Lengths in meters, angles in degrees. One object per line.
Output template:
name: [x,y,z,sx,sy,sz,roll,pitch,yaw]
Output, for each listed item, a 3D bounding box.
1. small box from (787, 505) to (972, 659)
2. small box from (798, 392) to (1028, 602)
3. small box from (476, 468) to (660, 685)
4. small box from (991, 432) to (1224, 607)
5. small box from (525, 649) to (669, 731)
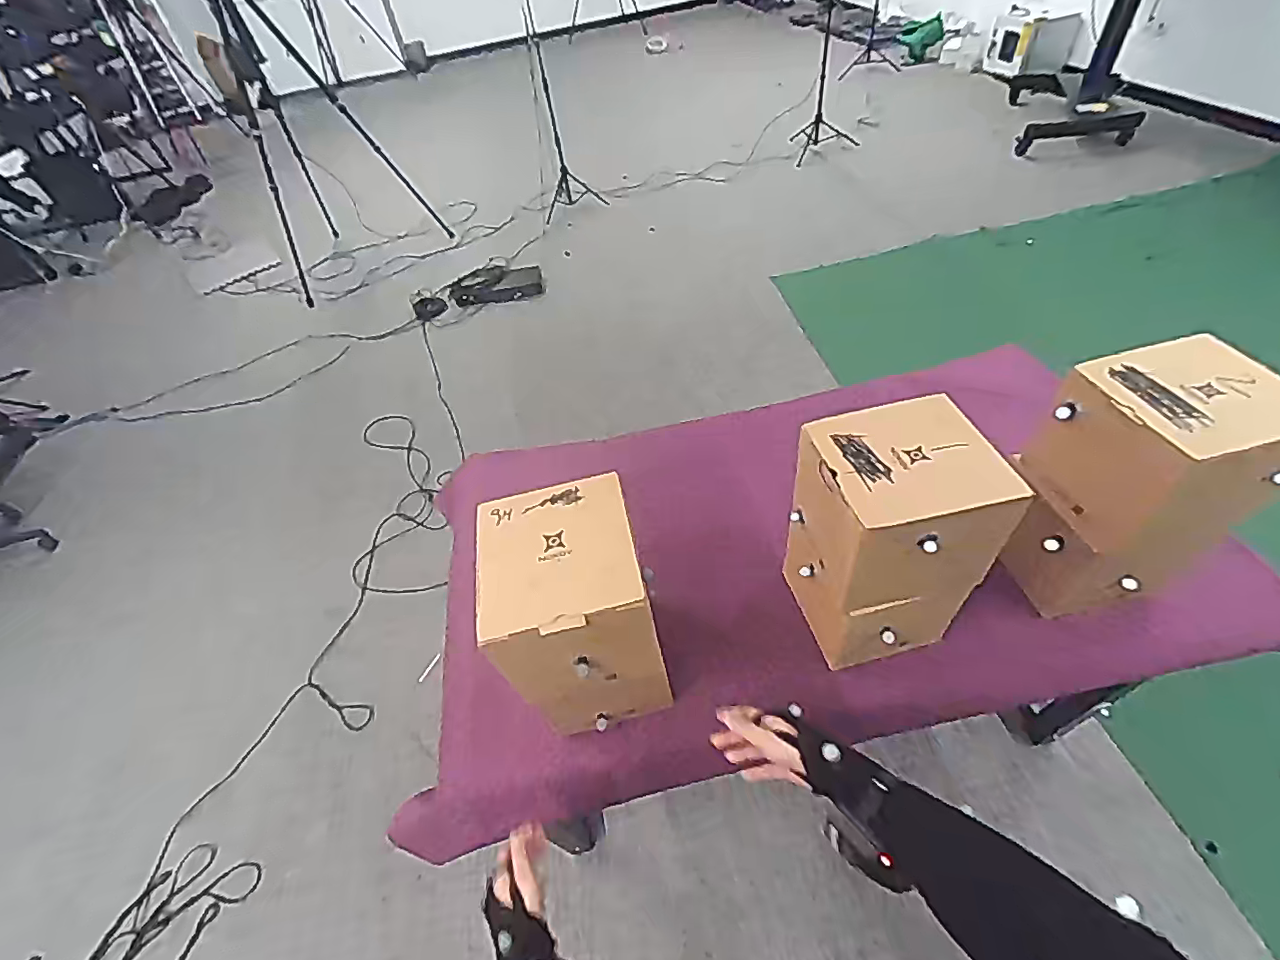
small box: [0.318,0.133,0.762,0.168,0.176,0.179,-14,47,-3]
small box: [0.296,0.025,0.639,0.179,0.176,0.168,-11,47,-1]
small box: [-0.078,0.118,0.621,0.168,0.176,0.179,-13,49,-1]
small box: [0.626,0.063,0.767,0.168,0.176,0.179,-11,47,-1]
small box: [-0.061,0.218,0.750,0.168,0.176,0.179,-14,49,-3]
